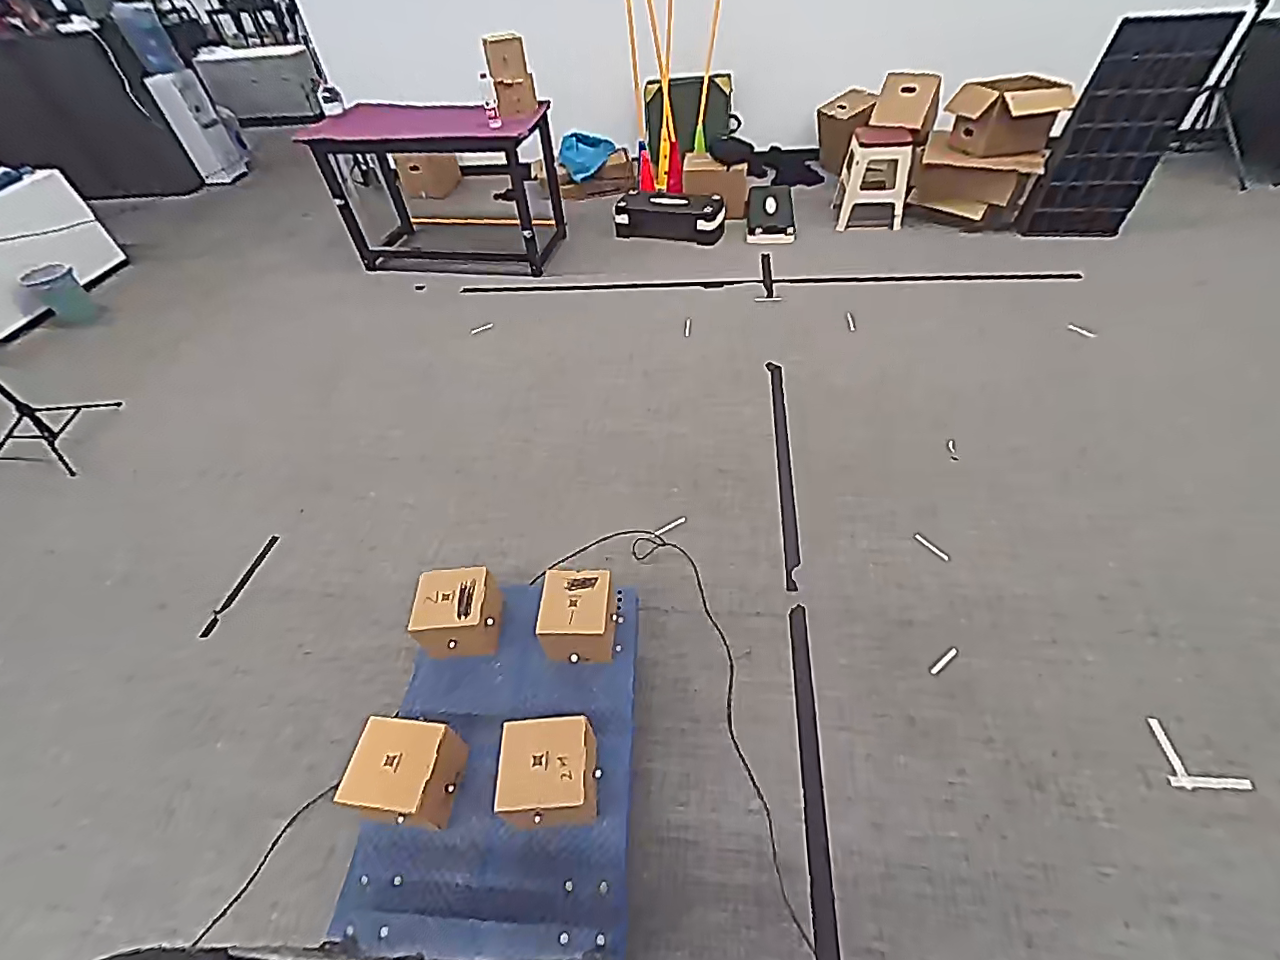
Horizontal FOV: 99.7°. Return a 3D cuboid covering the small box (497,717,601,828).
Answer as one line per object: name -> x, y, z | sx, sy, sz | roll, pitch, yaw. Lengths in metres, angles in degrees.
small box -> -0.182, 0.615, 1.130 | 0.179, 0.176, 0.168 | -5, 48, 1

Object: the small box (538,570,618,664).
small box -> -0.148, 0.348, 1.370 | 0.168, 0.176, 0.179 | -1, 49, 5

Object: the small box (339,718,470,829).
small box -> -0.489, 0.627, 1.151 | 0.179, 0.176, 0.168 | 3, 48, 6
